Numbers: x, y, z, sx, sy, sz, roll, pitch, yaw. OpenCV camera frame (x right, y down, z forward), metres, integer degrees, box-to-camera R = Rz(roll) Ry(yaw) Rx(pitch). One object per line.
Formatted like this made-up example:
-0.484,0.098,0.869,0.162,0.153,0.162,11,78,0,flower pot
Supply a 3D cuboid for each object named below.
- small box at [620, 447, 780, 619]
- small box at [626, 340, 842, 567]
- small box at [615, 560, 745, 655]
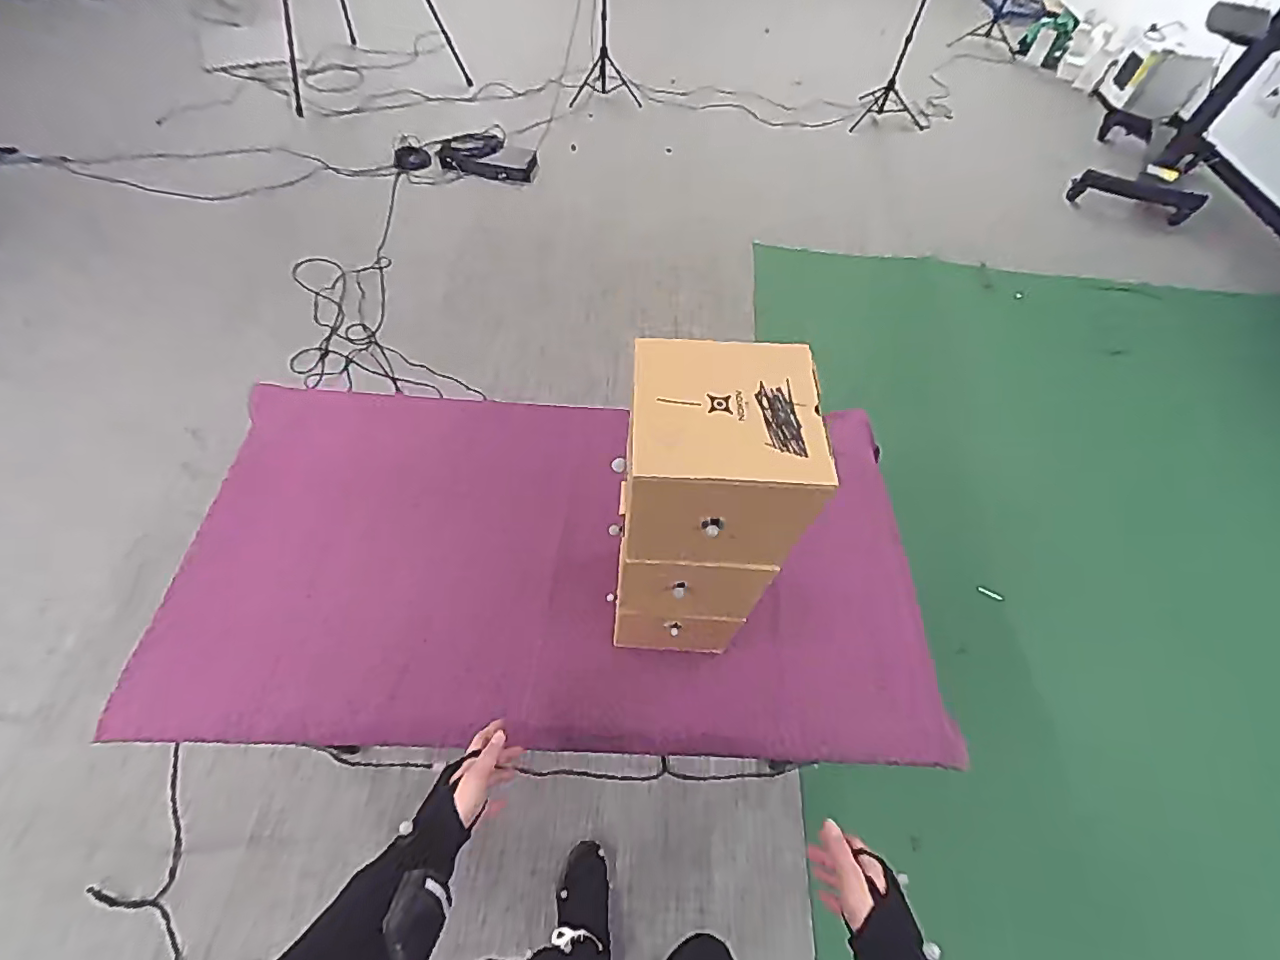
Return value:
0.066,0.071,0.689,0.179,0.176,0.168,3,58,-1,small box
0.079,-0.019,0.551,0.179,0.176,0.168,2,58,-2,small box
0.055,0.160,0.825,0.179,0.176,0.168,5,58,-1,small box
